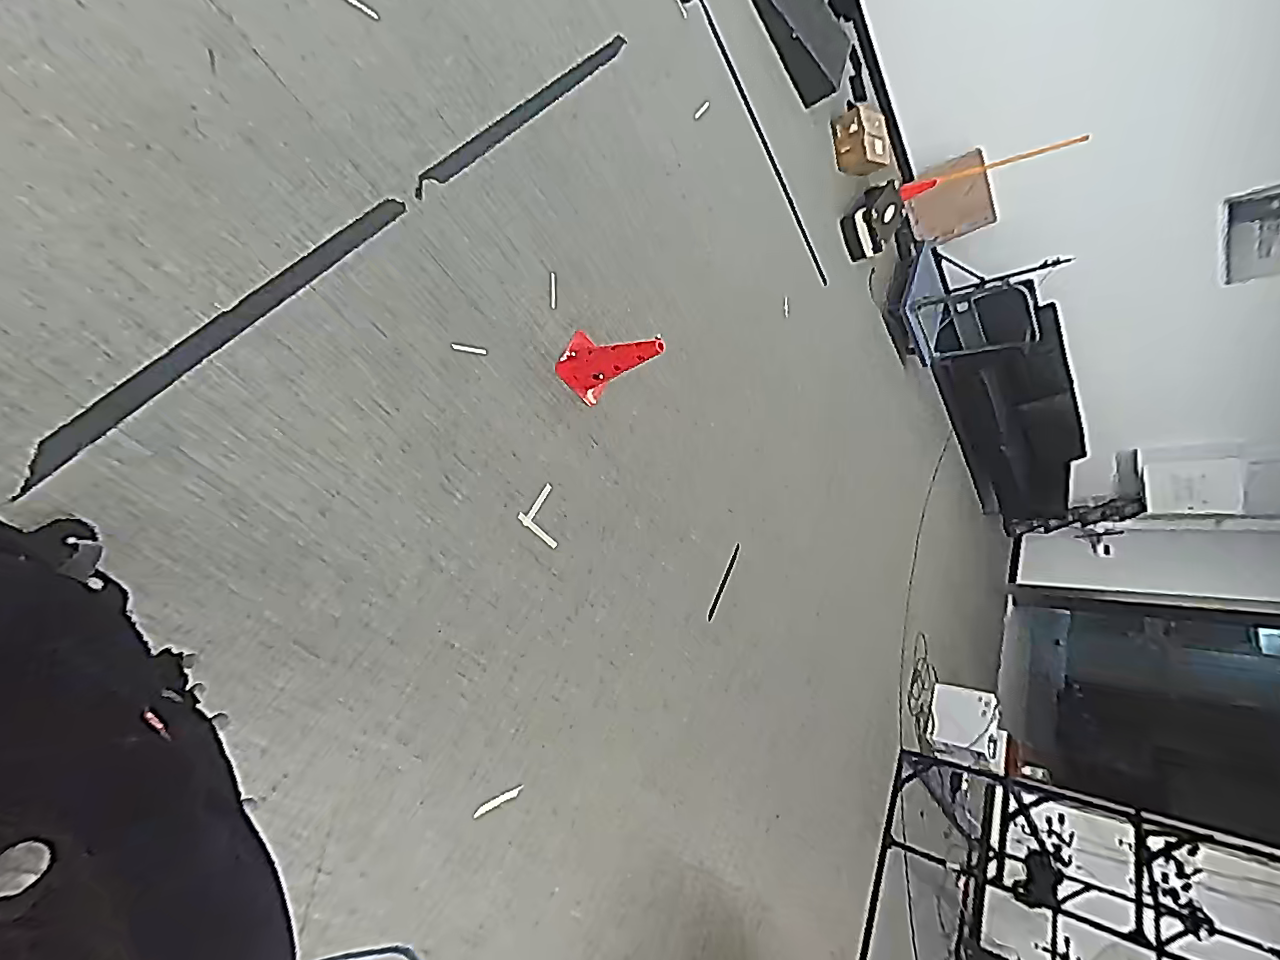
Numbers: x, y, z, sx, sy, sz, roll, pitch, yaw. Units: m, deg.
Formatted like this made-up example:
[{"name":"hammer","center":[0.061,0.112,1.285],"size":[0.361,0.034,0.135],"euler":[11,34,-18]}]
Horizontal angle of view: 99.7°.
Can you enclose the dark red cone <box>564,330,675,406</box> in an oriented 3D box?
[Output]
[{"name":"dark red cone","center":[-0.045,-0.386,1.721],"size":[0.201,0.394,0.202],"euler":[43,59,-34]}]
